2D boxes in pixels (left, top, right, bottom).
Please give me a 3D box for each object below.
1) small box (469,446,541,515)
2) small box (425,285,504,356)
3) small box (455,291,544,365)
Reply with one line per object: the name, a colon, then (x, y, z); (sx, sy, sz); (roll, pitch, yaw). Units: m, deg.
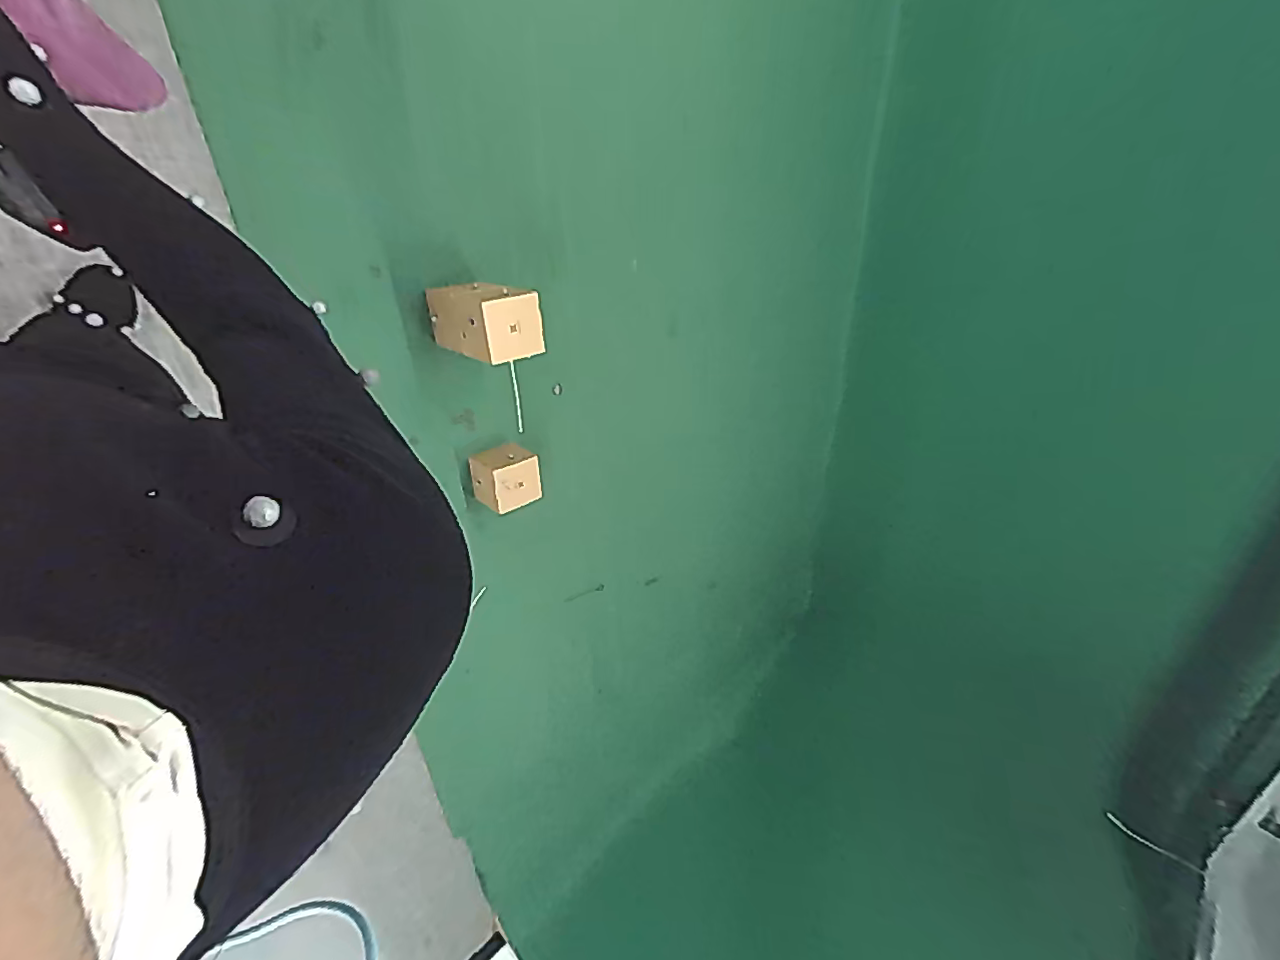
small box: (-0.470, -0.005, 1.883); (0.179, 0.176, 0.168); (-24, 125, -38)
small box: (-0.510, -0.480, 1.612); (0.179, 0.176, 0.168); (-26, 125, -36)
small box: (-0.397, -0.428, 1.508); (0.179, 0.176, 0.168); (-28, 126, -37)
